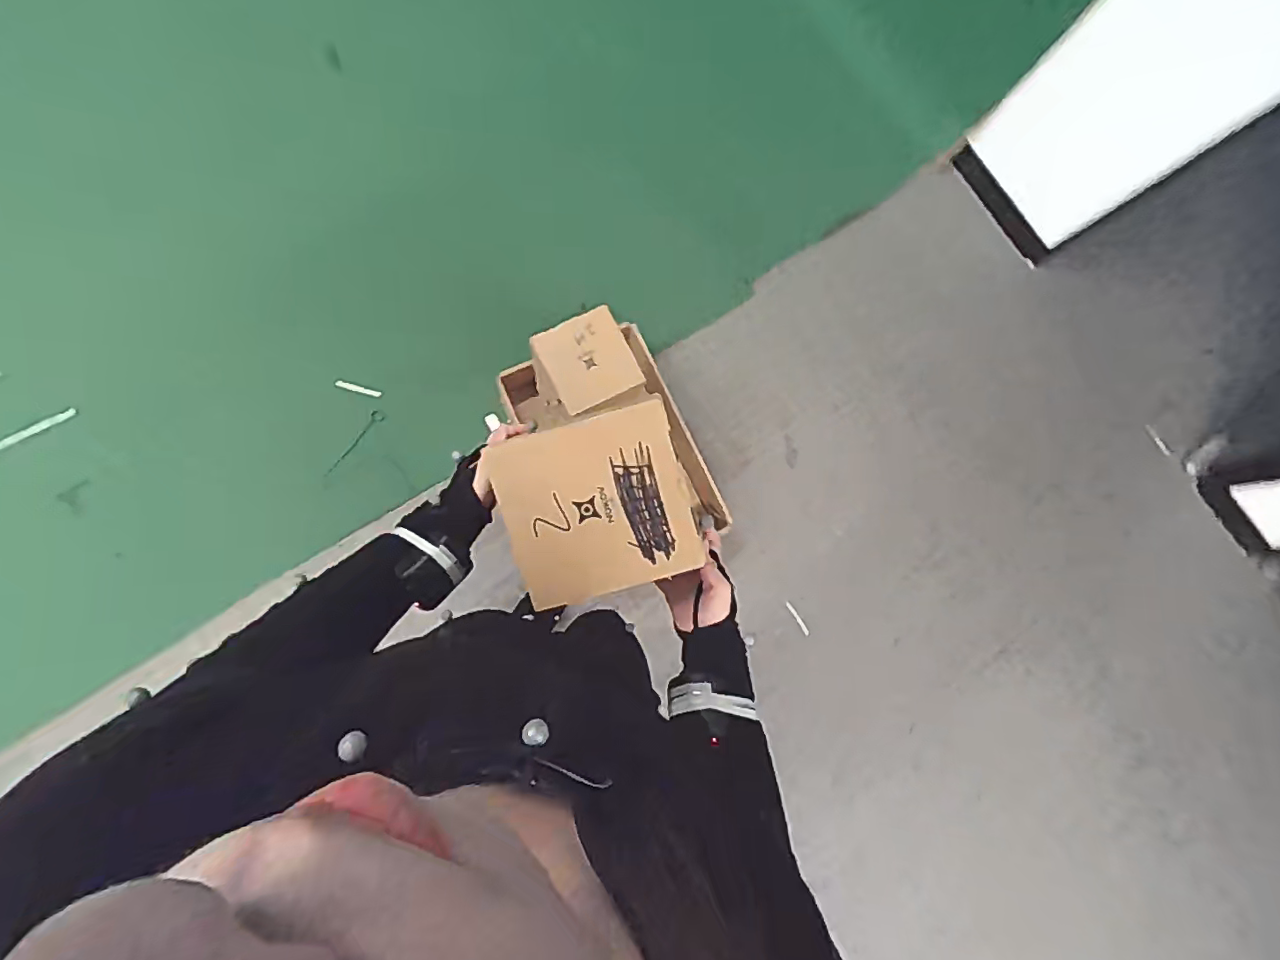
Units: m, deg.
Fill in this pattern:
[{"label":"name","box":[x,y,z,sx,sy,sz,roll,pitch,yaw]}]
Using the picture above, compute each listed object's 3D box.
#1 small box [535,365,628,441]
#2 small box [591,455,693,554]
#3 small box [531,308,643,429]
[{"label":"small box","box":[-0.136,-0.210,1.284,0.179,0.176,0.168,-25,87,-10]},{"label":"small box","box":[-0.004,0.065,1.257,0.179,0.176,0.168,-26,85,-12]},{"label":"small box","box":[-0.111,-0.218,1.120,0.168,0.176,0.179,-27,87,-11]}]
